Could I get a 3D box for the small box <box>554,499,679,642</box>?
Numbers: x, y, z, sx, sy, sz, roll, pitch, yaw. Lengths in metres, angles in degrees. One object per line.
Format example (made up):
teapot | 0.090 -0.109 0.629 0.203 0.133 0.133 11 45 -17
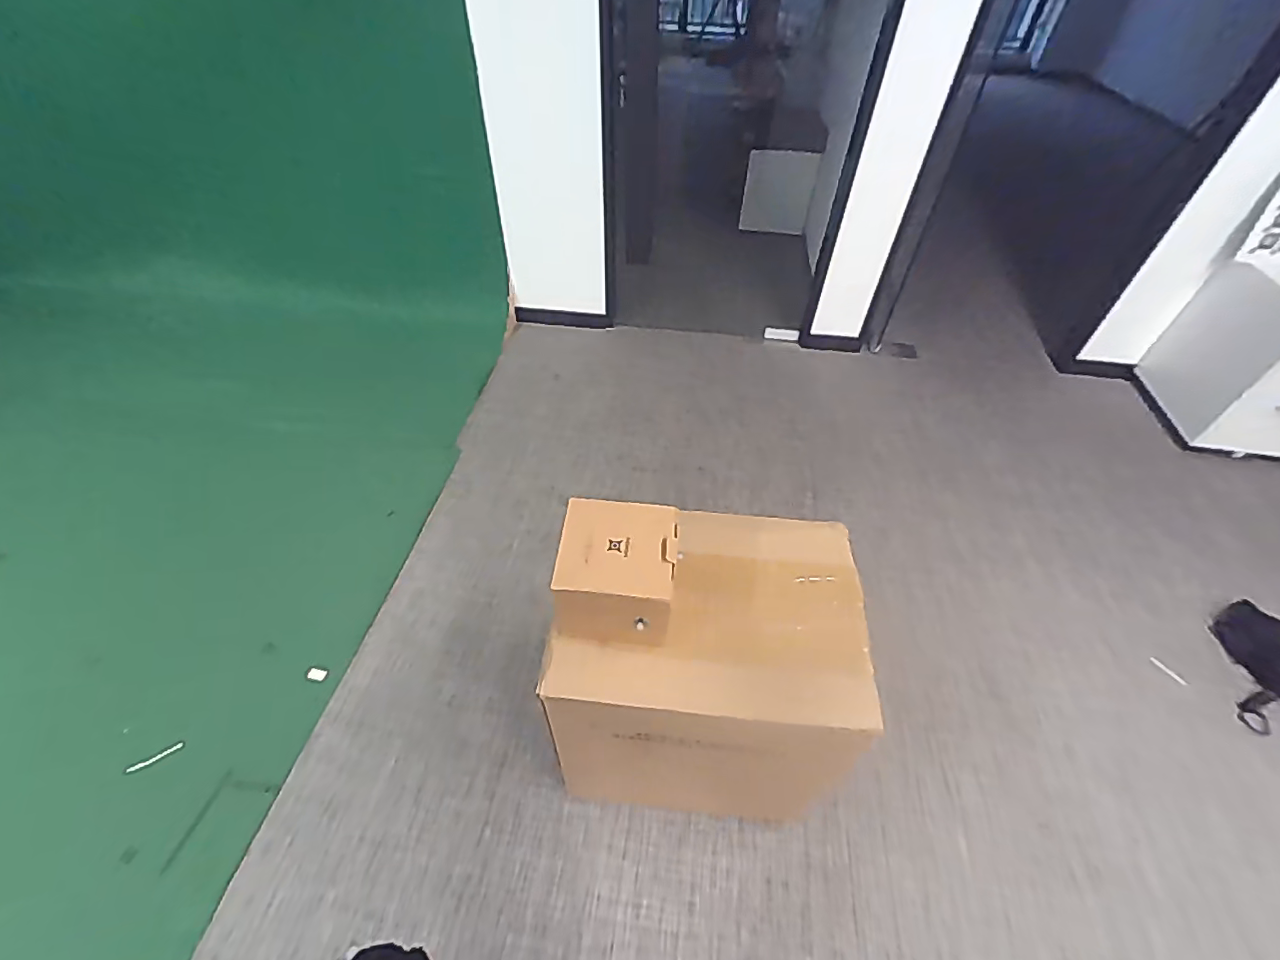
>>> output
small box | -0.032 0.152 0.880 0.179 0.176 0.168 4 50 3
